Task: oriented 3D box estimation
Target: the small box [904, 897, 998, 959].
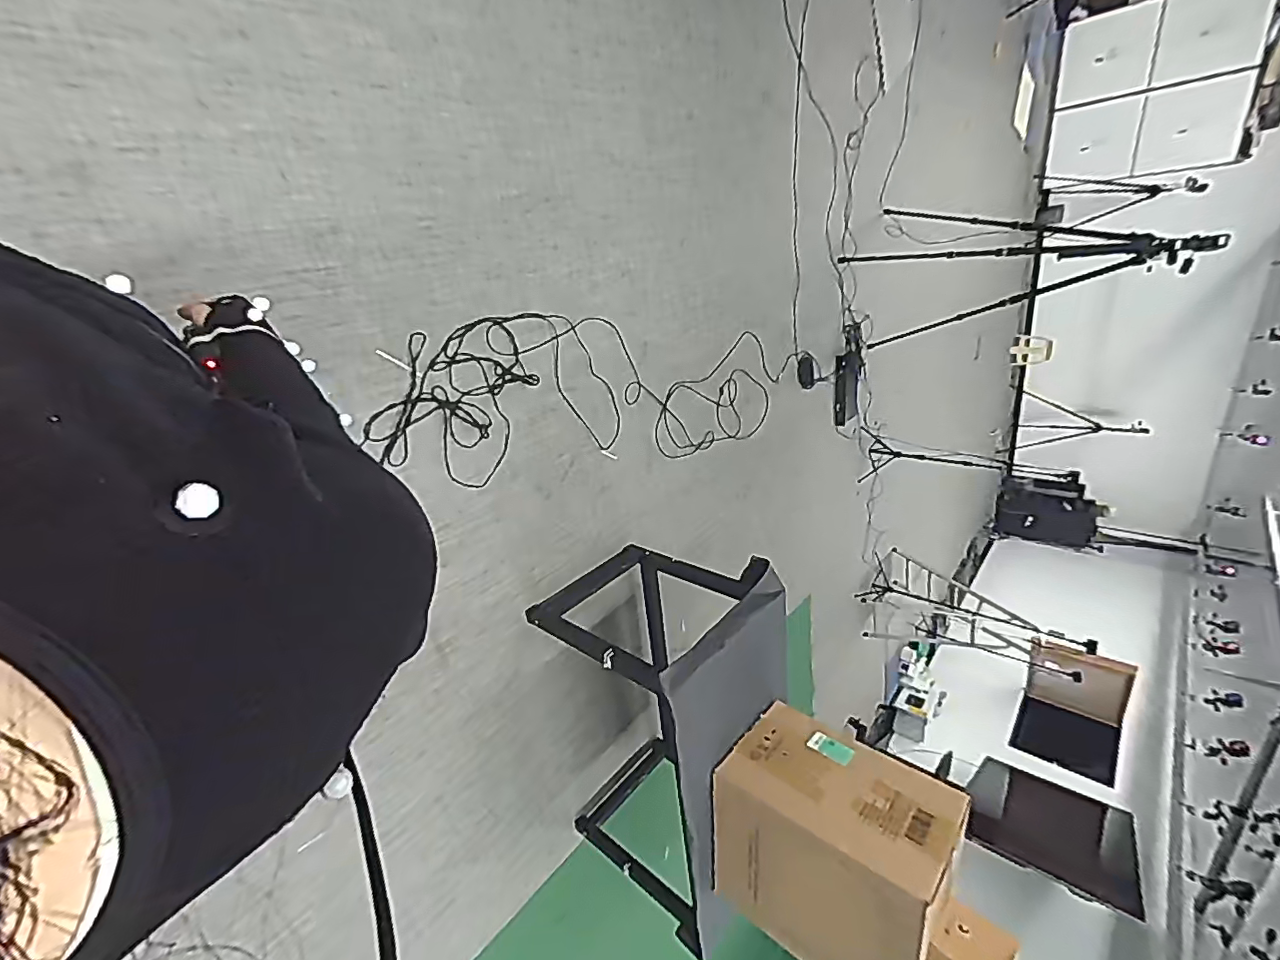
[{"bbox_3d":[0.800,1.253,1.407,0.168,0.176,0.179,-18,113,-43],"label":"small box"}]
